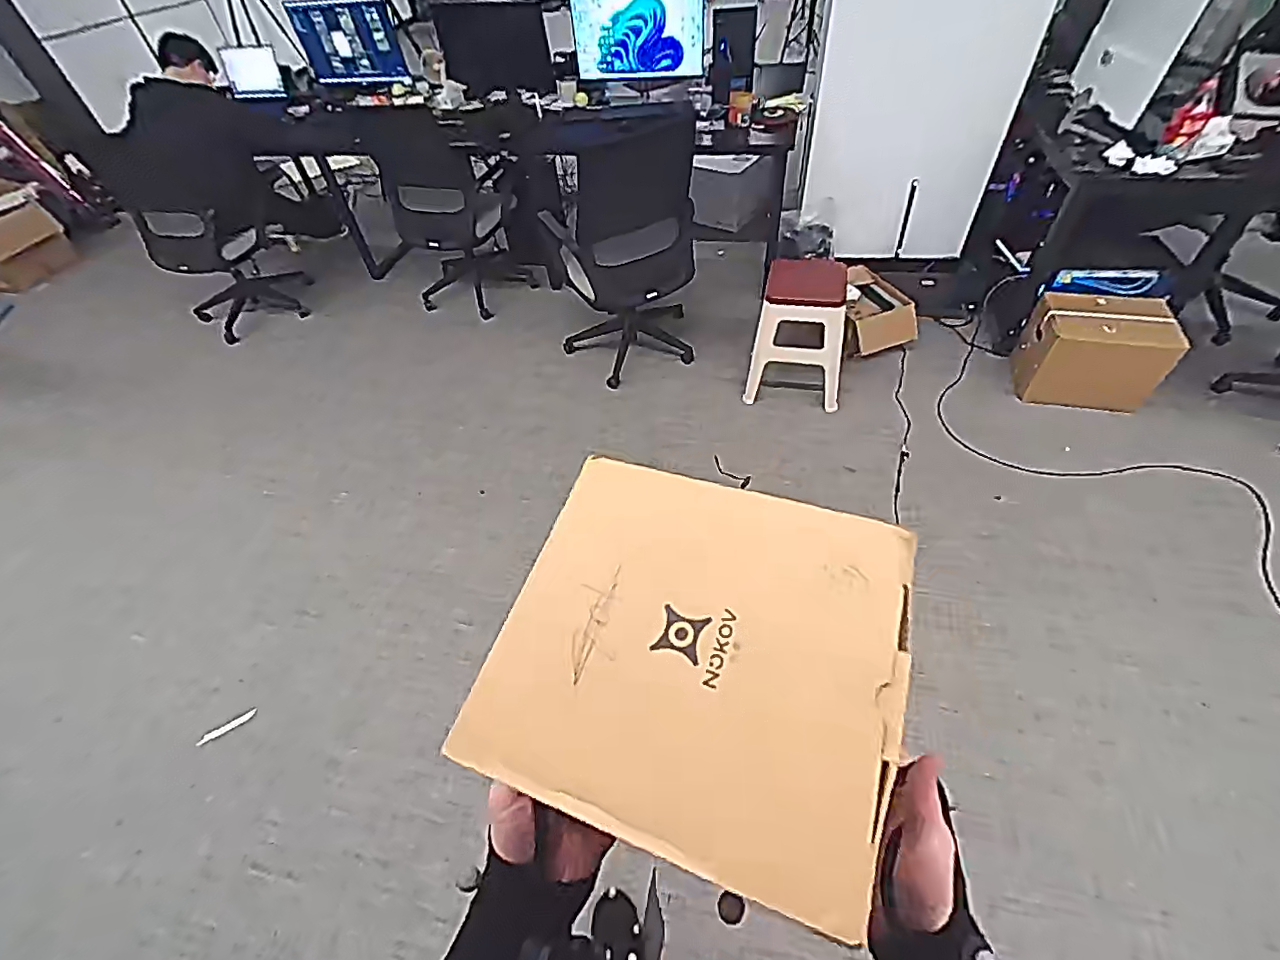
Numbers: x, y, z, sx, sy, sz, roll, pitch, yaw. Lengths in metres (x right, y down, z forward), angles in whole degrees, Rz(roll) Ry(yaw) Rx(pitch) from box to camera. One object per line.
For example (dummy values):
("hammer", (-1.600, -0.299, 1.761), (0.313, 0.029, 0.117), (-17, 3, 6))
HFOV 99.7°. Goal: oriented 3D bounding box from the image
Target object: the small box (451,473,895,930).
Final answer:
("small box", (0.032, 0.123, 0.322), (0.179, 0.176, 0.168), (12, 58, 18))
